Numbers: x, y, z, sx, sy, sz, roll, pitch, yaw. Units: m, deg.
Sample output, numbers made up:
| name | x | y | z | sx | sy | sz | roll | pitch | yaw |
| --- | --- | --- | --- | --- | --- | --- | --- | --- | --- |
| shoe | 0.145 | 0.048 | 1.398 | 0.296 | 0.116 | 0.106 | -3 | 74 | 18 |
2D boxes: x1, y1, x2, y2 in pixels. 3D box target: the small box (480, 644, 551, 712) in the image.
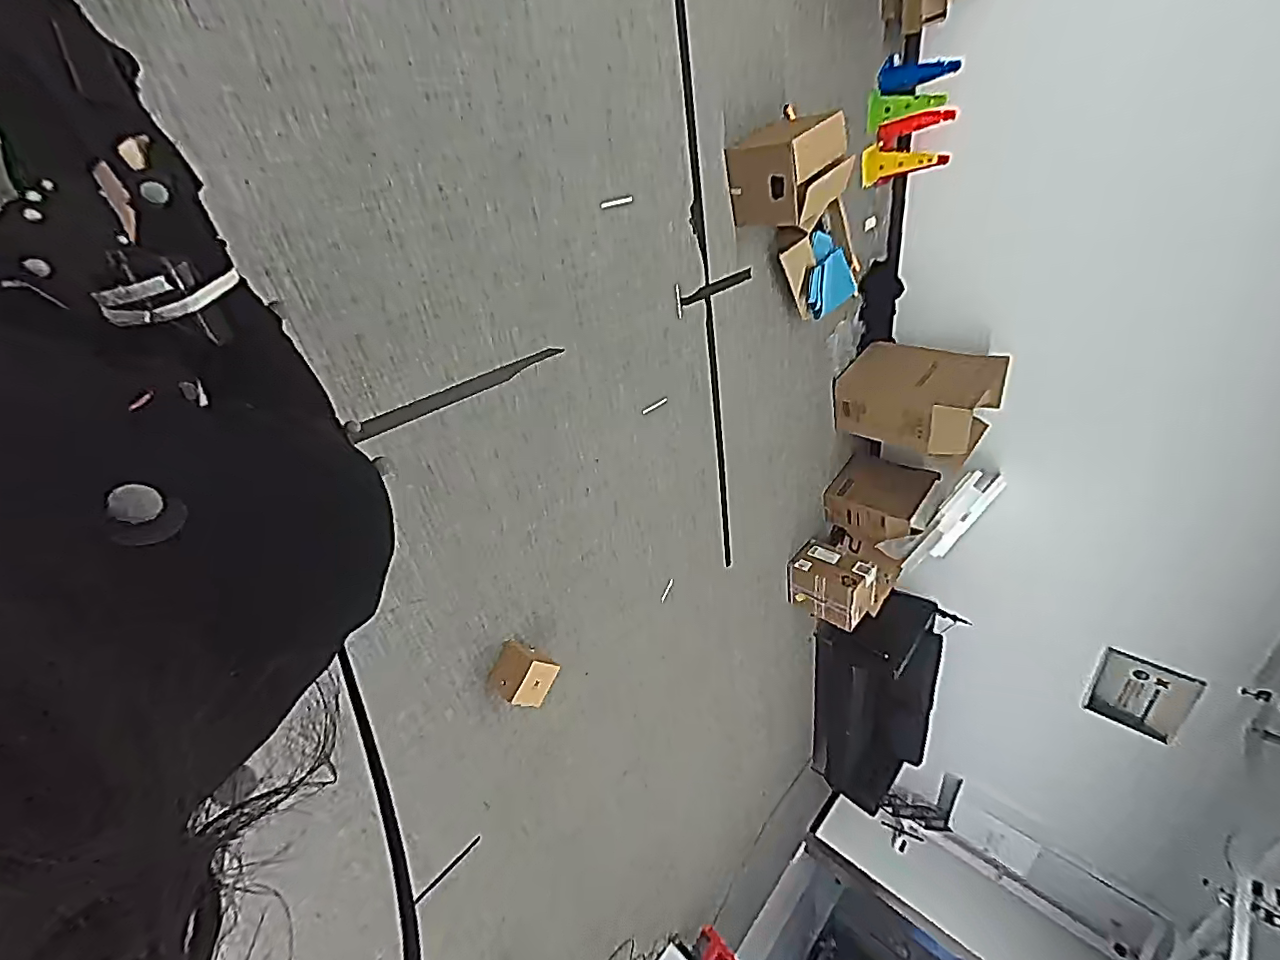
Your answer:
| name | x | y | z | sx | sy | sz | roll | pitch | yaw |
| --- | --- | --- | --- | --- | --- | --- | --- | --- | --- |
| small box | -0.484 | 0.758 | 2.073 | 0.168 | 0.176 | 0.179 | 39 | 75 | -51 |
